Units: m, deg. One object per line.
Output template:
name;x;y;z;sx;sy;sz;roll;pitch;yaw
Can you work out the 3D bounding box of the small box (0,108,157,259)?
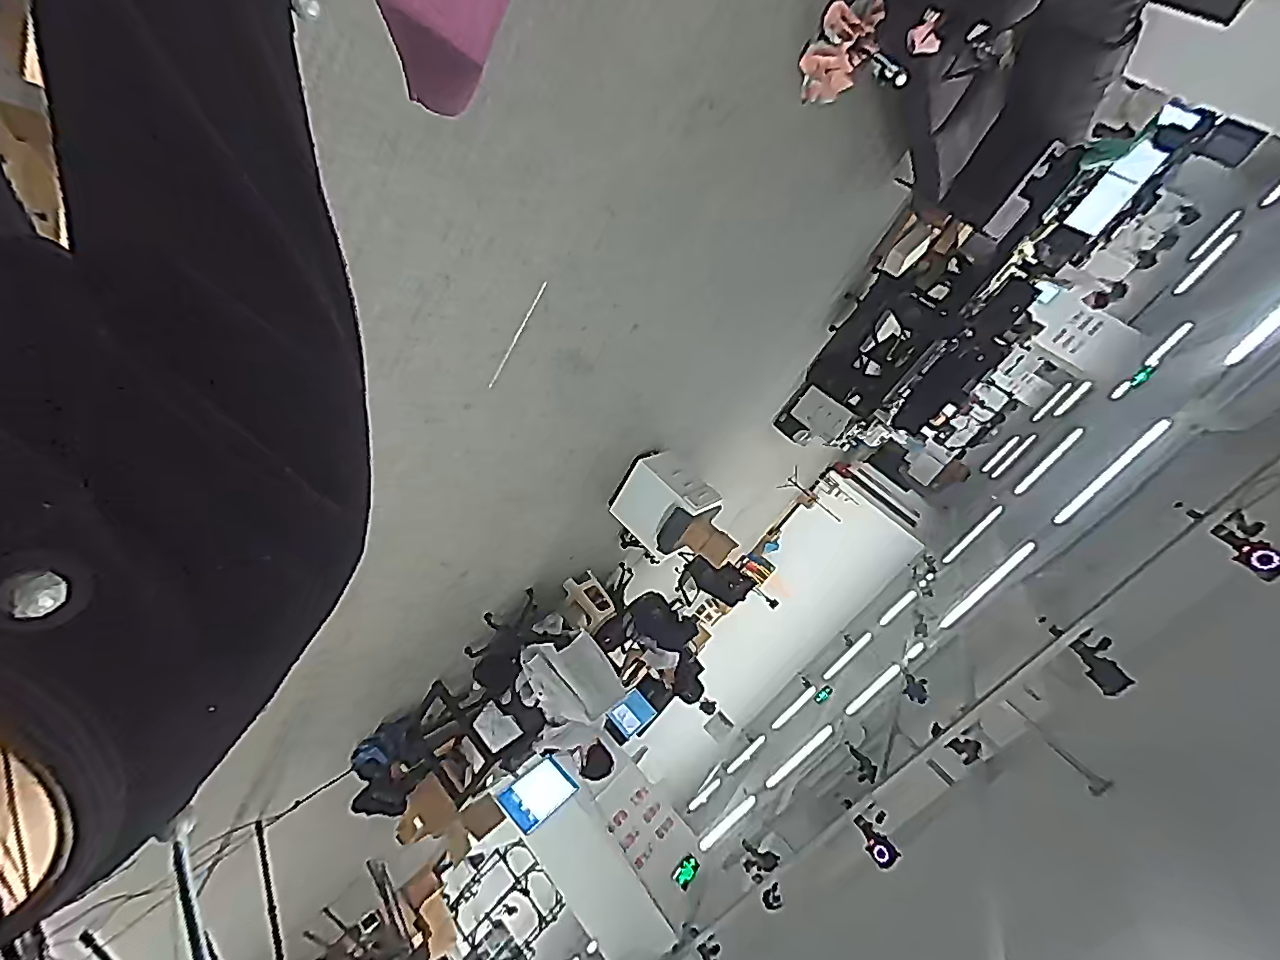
small box;-1.015;-0.528;0.970;0.179;0.176;0.168;-15;142;-56
